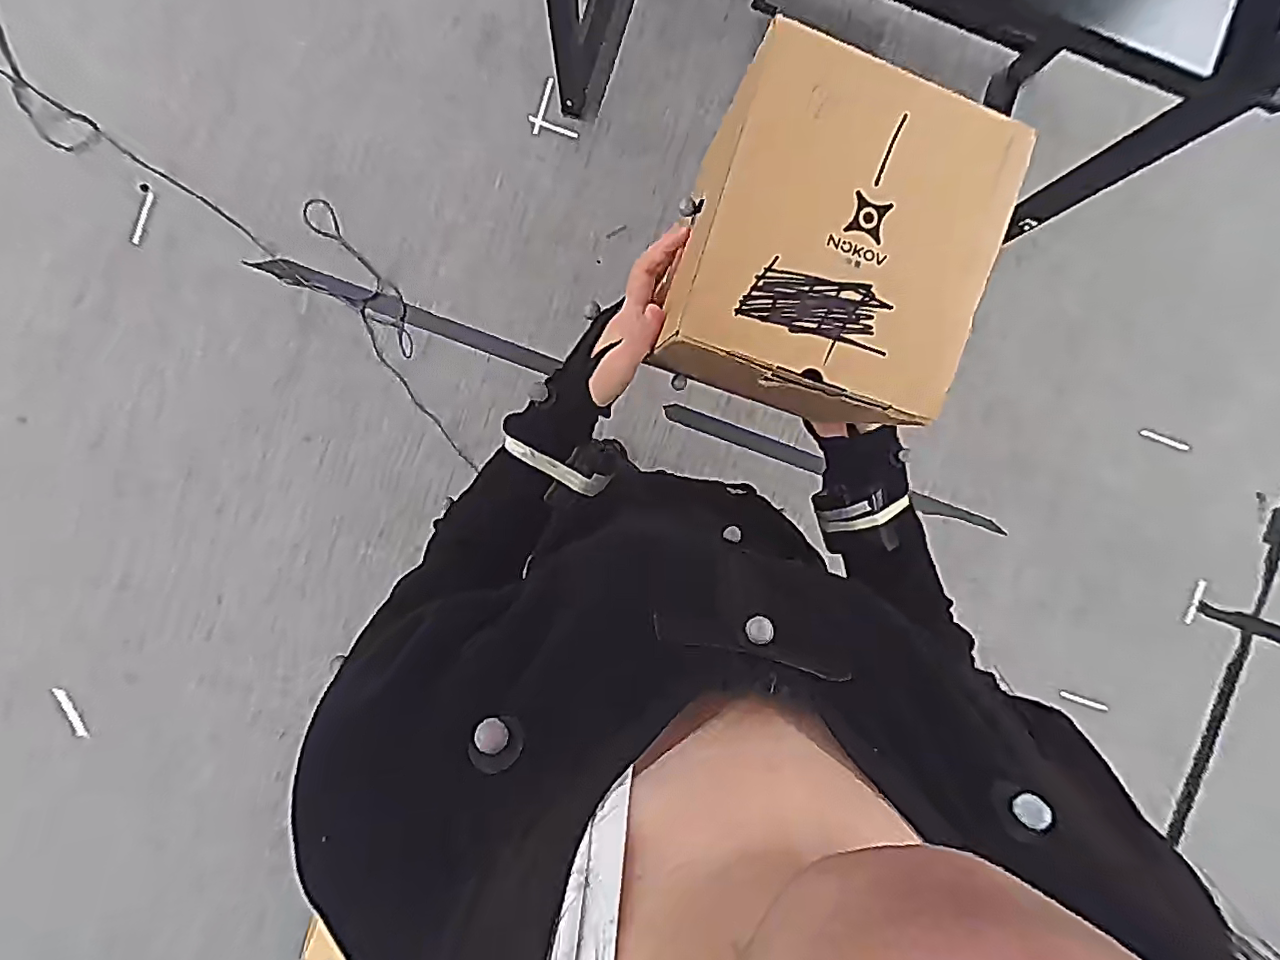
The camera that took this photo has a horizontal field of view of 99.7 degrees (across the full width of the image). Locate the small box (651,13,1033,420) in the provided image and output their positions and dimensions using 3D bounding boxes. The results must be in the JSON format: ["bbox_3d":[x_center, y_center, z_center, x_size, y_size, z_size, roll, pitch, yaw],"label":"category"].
[{"bbox_3d":[0.111,-0.149,0.379,0.168,0.176,0.179,17,95,-8],"label":"small box"}]
